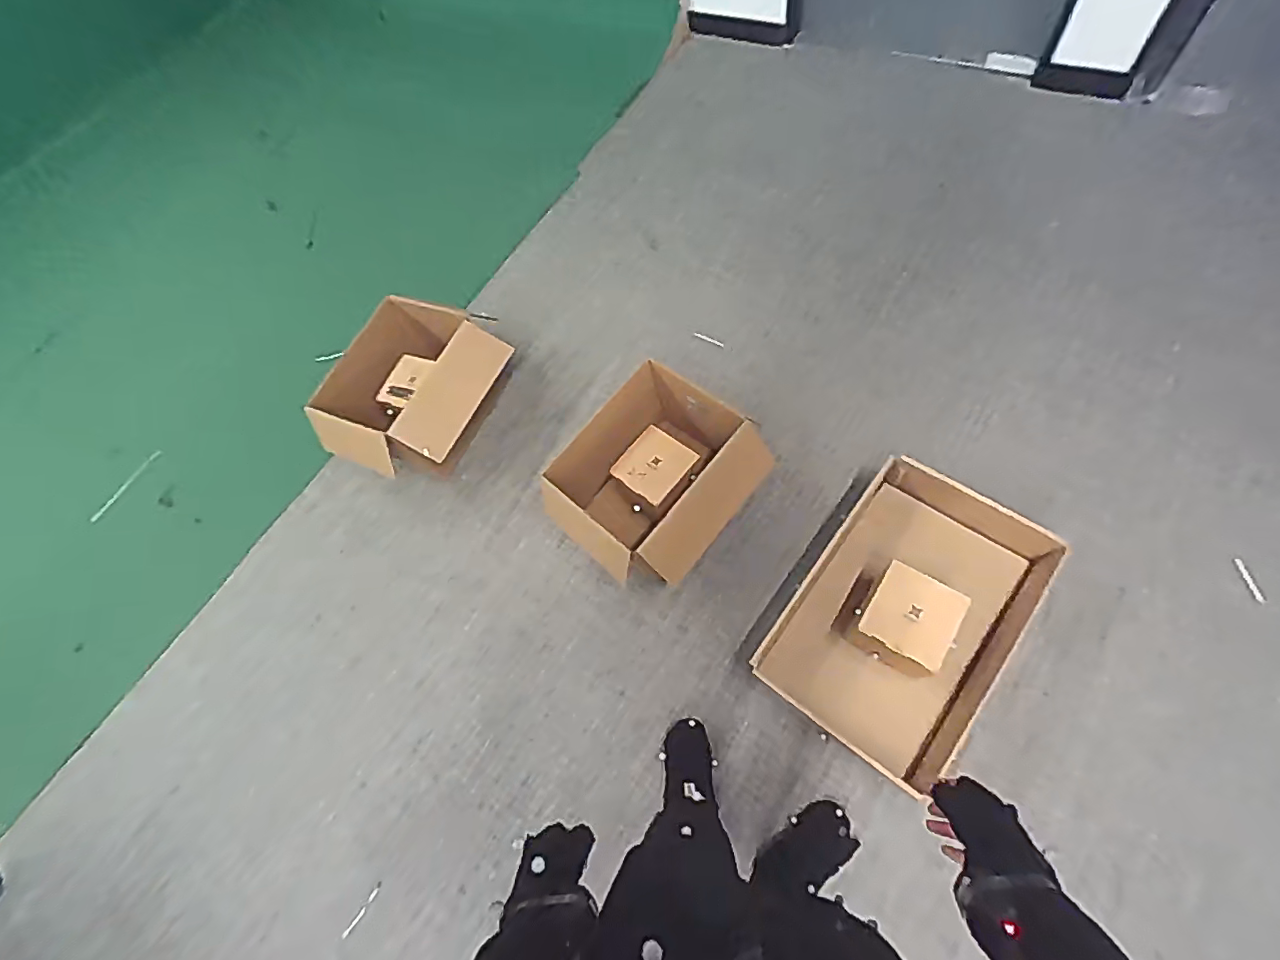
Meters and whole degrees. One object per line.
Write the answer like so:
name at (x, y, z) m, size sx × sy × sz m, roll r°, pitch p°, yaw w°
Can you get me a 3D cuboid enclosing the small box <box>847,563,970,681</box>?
small box at (0.570, 0.313, 1.172) m, size 0.168 × 0.176 × 0.179 m, roll 29°, pitch 74°, yaw 21°
